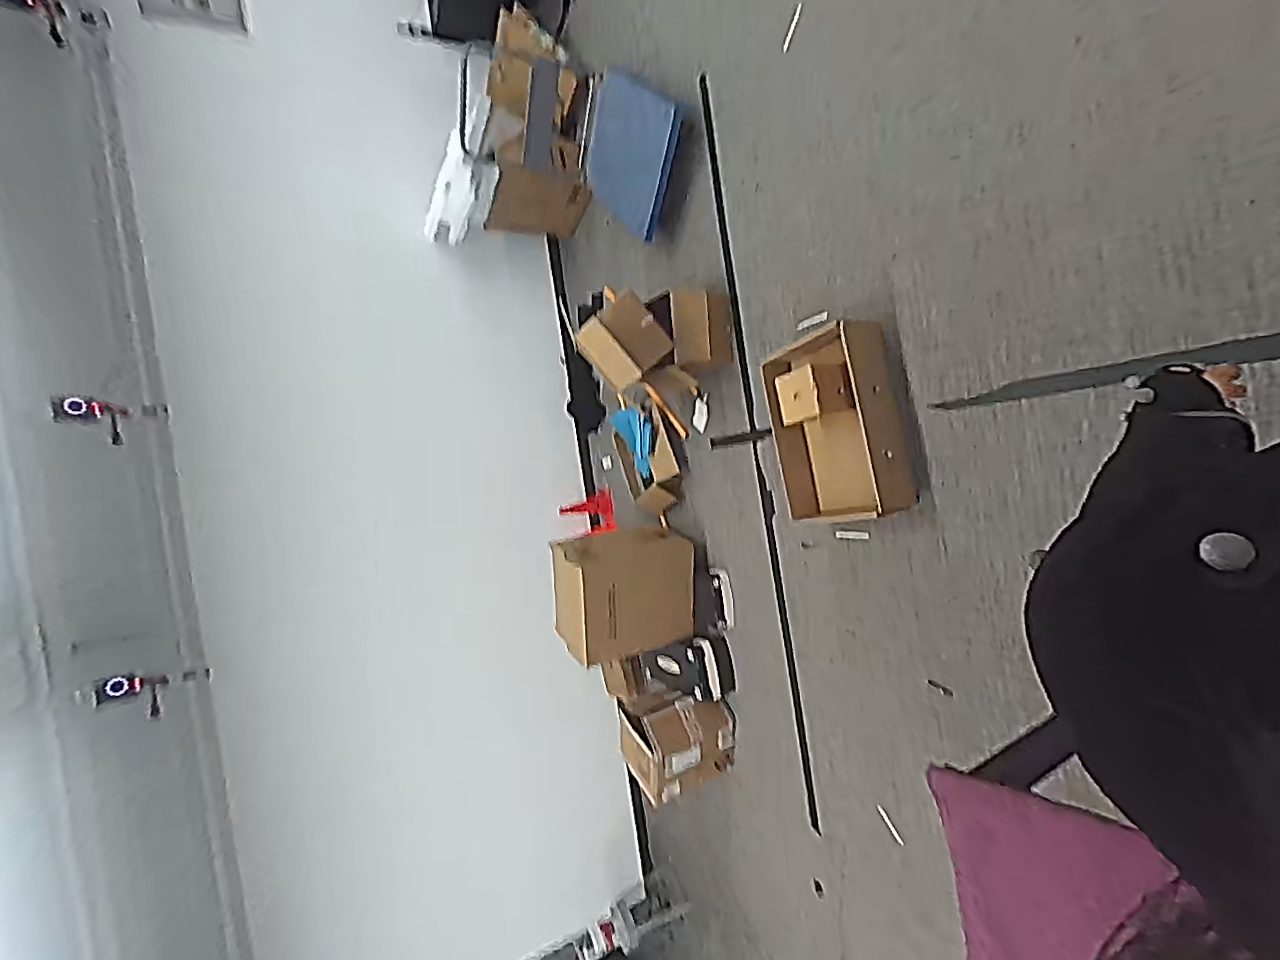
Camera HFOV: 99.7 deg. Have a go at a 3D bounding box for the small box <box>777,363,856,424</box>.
[{"bbox_3d":[0.605,-0.296,1.856,0.179,0.176,0.168,-18,83,63],"label":"small box"}]
